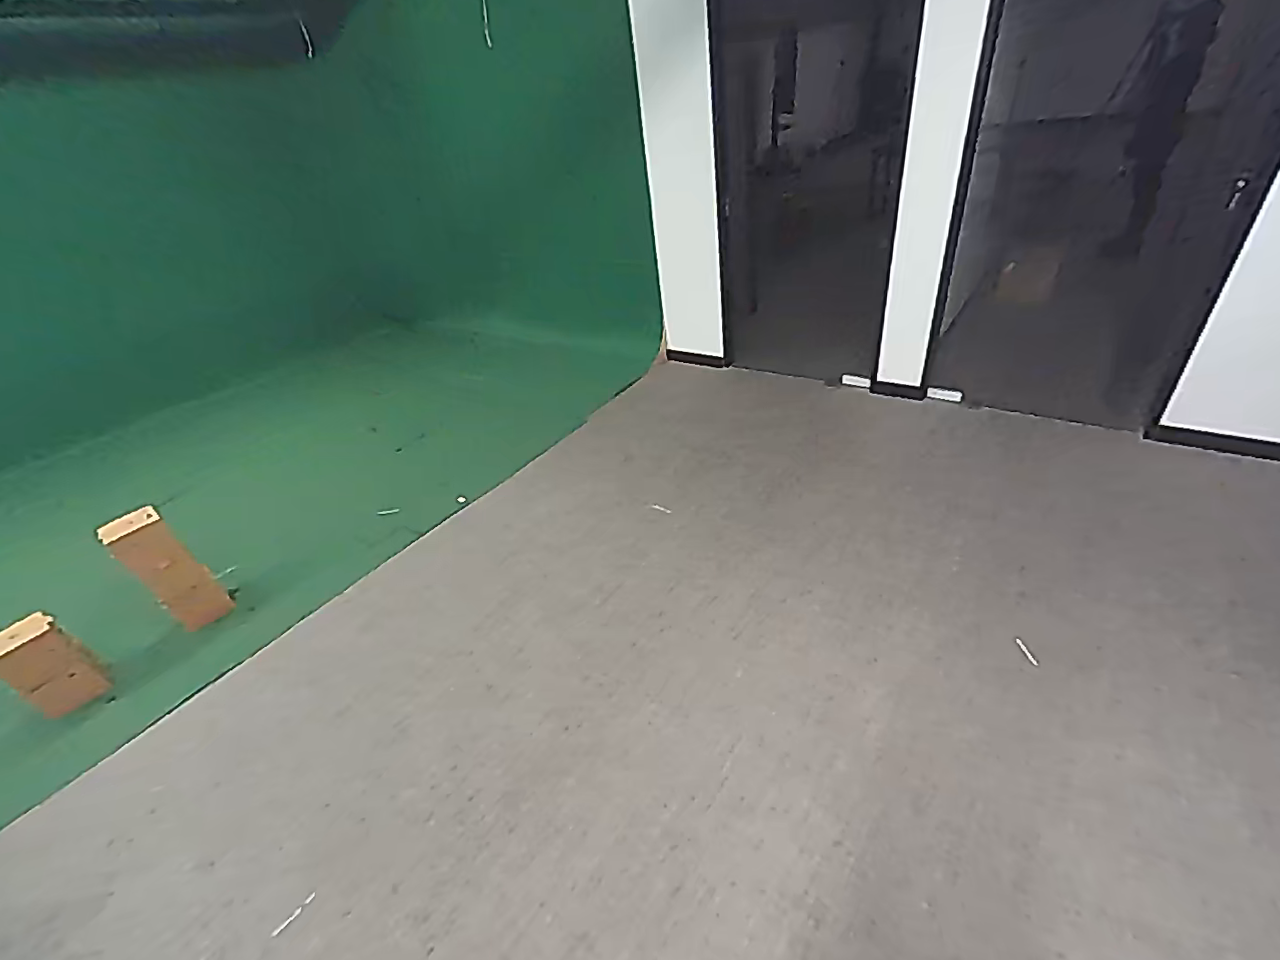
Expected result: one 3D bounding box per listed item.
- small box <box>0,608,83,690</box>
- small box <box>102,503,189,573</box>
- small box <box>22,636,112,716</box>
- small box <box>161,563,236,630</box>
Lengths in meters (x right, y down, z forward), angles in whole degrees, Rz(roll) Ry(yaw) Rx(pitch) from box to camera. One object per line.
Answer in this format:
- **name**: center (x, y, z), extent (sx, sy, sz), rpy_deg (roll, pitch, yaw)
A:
- **small box**: center (-2.100, 0.587, 1.877), extent (0.168, 0.176, 0.179), rpy_deg (17, 43, 32)
- **small box**: center (-1.878, 0.223, 2.058), extent (0.168, 0.176, 0.179), rpy_deg (21, 45, 36)
- **small box**: center (-2.087, 0.715, 1.976), extent (0.168, 0.176, 0.179), rpy_deg (24, 46, 38)
- **small box**: center (-1.829, 0.484, 2.252), extent (0.168, 0.176, 0.179), rpy_deg (23, 46, 36)
